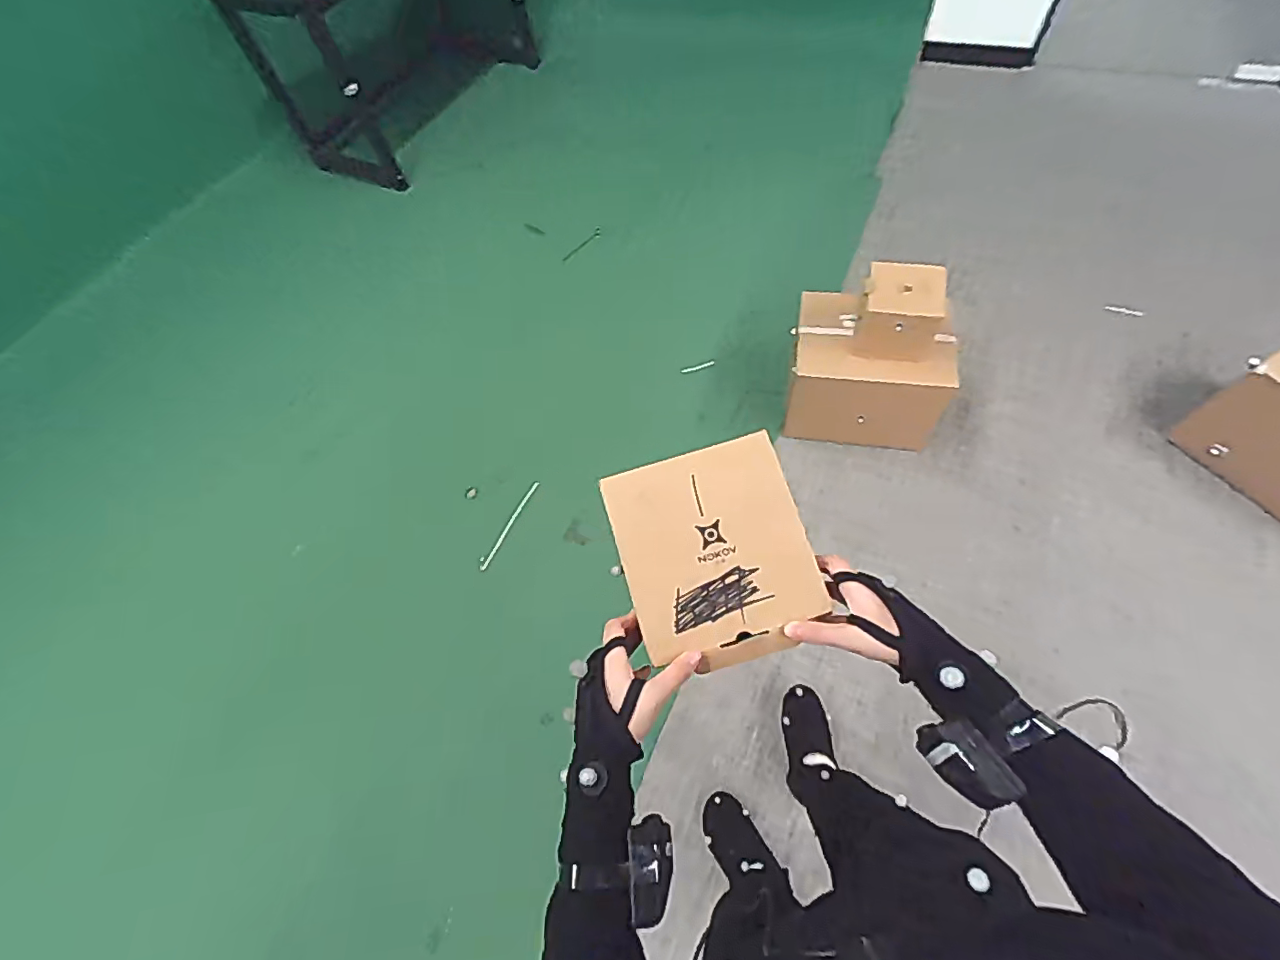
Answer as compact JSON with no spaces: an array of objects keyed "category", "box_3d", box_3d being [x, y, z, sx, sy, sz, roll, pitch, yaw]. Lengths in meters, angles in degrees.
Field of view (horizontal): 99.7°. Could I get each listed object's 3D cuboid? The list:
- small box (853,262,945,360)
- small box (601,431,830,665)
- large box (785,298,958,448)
[{"category":"small box","box_3d":[0.650,-0.423,1.369,0.179,0.176,0.168,9,65,12]},{"category":"small box","box_3d":[0.068,0.074,0.558,0.168,0.176,0.179,-16,75,-2]},{"category":"large box","box_3d":[0.654,-0.310,1.590,0.408,0.320,0.320,6,62,12]}]
